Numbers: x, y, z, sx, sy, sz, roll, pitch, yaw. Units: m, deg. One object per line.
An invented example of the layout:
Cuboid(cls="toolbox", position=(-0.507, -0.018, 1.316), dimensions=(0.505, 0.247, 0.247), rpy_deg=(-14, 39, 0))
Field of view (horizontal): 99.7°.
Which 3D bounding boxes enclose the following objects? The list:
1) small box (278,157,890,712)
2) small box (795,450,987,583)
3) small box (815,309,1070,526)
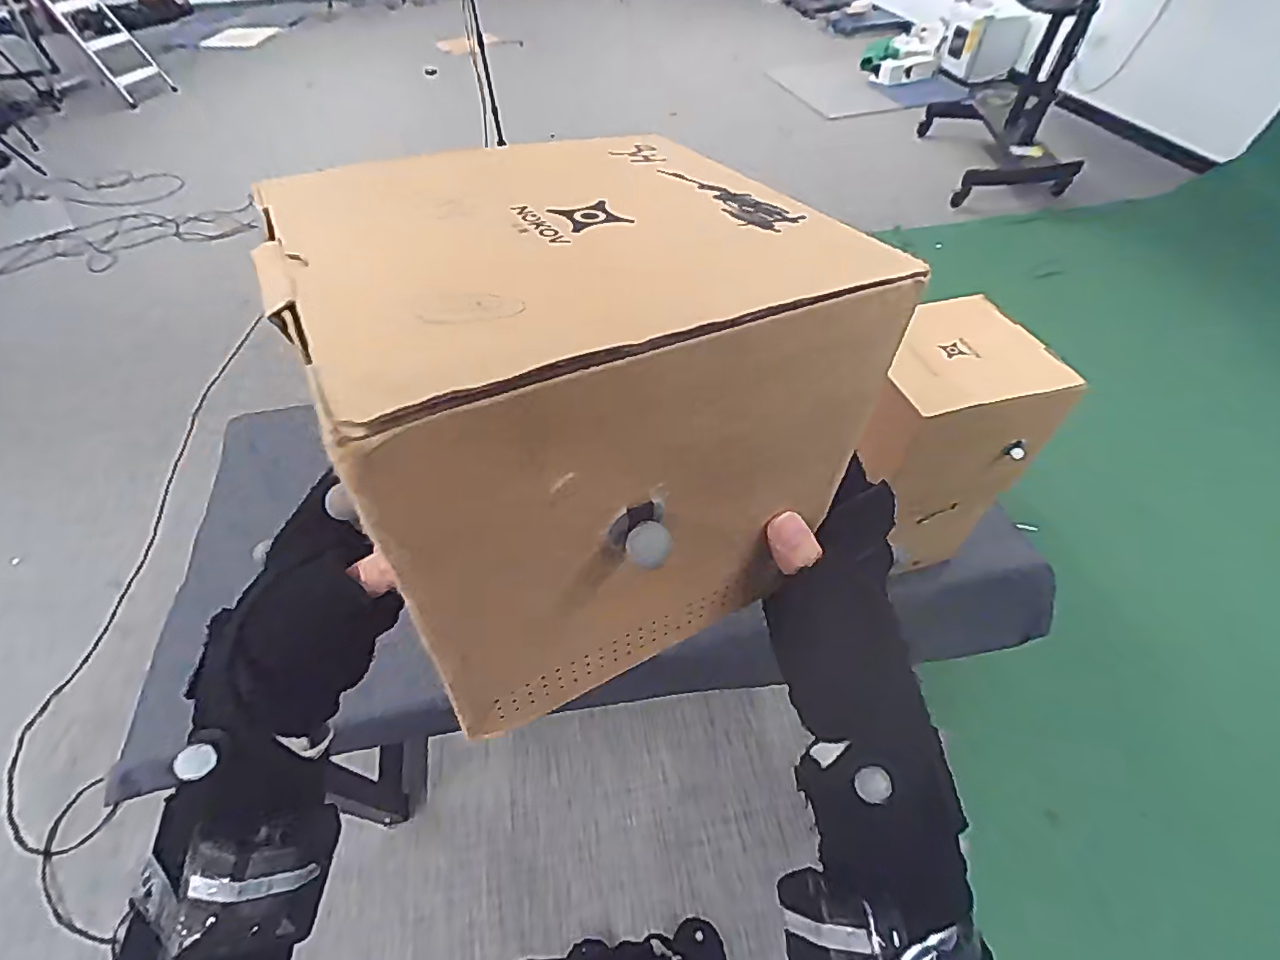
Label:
Cuboid(cls="small box", position=(-0.030, -0.027, 0.252), dimensions=(0.179, 0.176, 0.168), rpy_deg=(-21, 50, -23))
Cuboid(cls="small box", position=(0.328, 0.026, 0.759), dimensions=(0.168, 0.176, 0.179), rpy_deg=(-13, 50, -9))
Cuboid(cls="small box", position=(0.324, -0.070, 0.629), dimensions=(0.179, 0.176, 0.168), rpy_deg=(-13, 49, -6))
